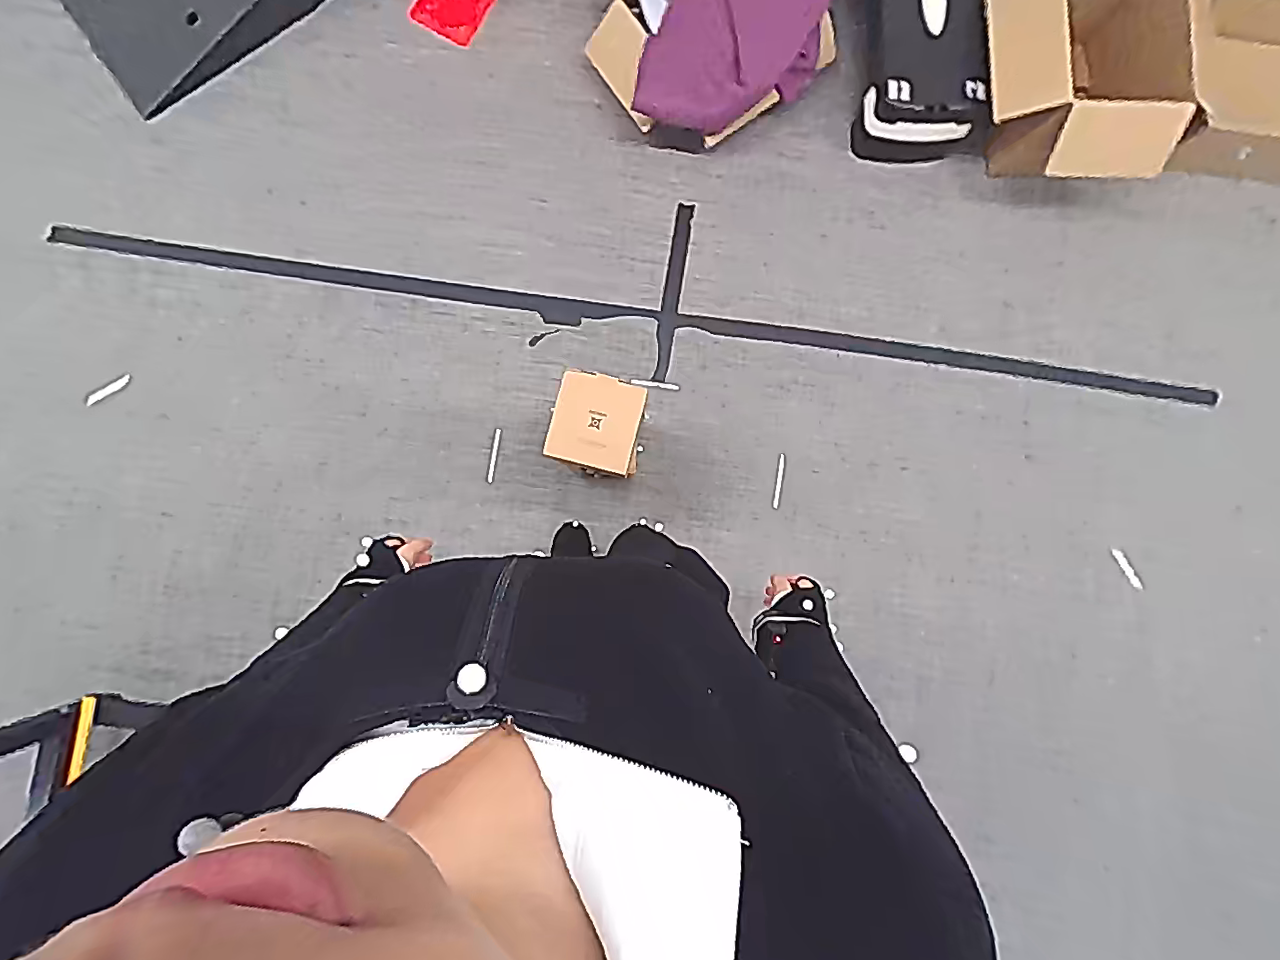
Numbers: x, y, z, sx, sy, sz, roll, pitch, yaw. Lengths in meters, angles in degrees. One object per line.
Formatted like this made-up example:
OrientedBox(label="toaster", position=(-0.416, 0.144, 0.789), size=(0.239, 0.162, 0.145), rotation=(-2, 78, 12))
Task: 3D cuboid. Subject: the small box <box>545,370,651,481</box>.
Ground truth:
OrientedBox(label="small box", position=(-0.081, -0.103, 1.099), size=(0.168, 0.176, 0.179), rotation=(14, 88, 0))
